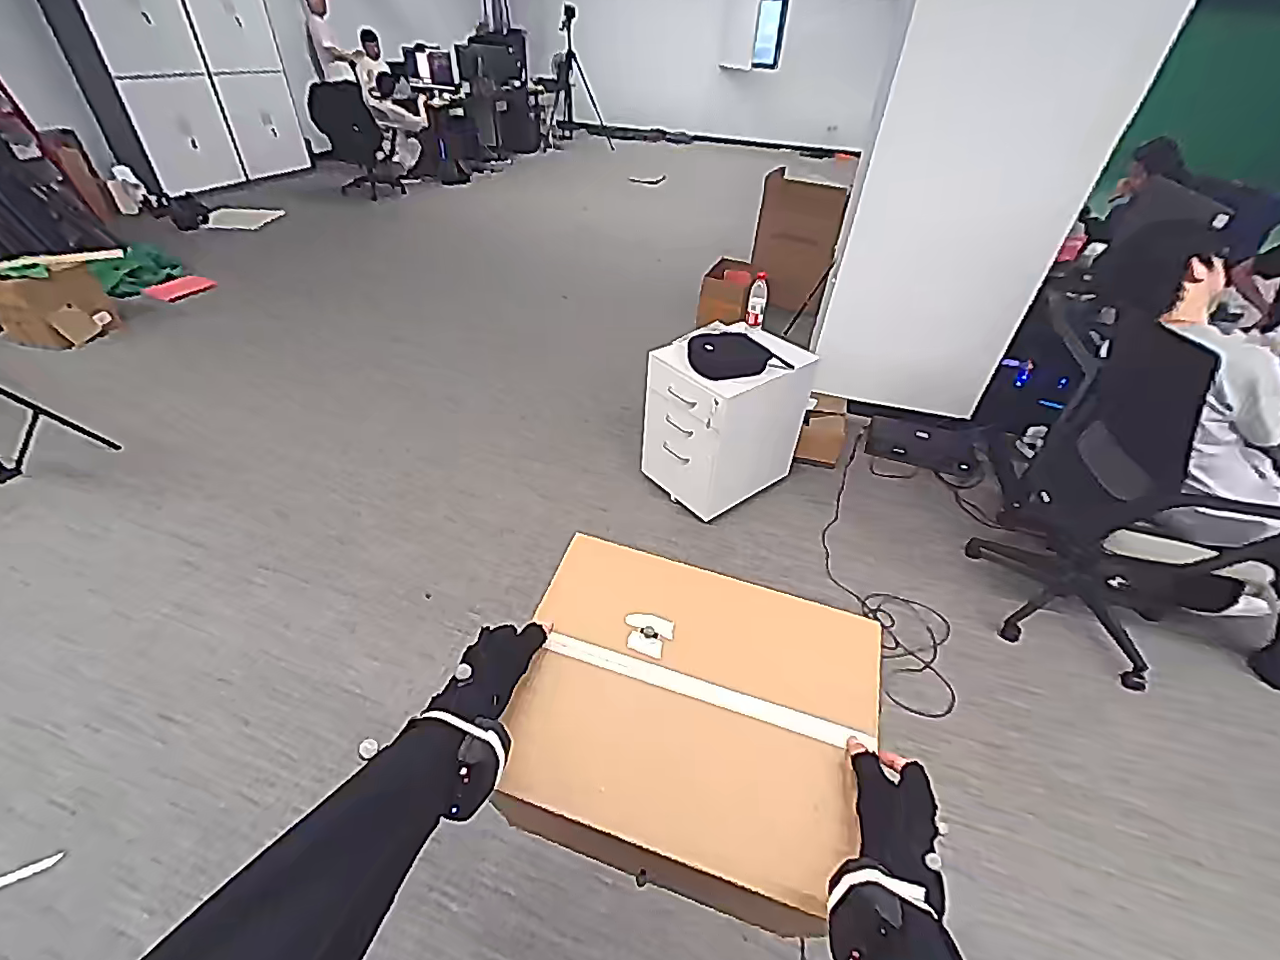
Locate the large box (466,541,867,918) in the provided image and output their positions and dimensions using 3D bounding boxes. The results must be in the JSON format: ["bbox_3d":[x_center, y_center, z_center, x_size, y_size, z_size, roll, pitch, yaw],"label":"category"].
[{"bbox_3d":[0.050,0.335,0.729,0.408,0.320,0.320,15,50,10],"label":"large box"}]
